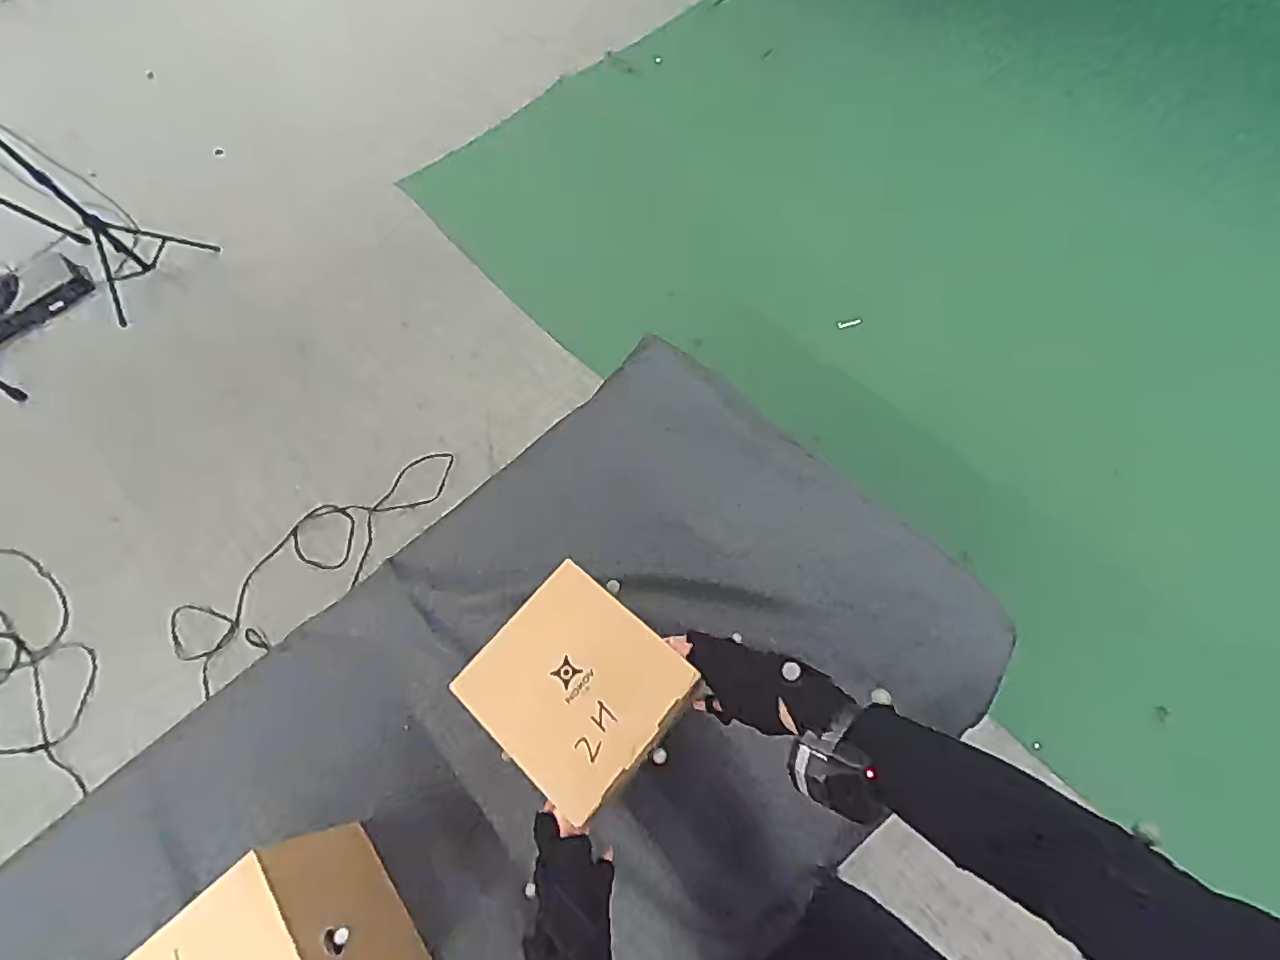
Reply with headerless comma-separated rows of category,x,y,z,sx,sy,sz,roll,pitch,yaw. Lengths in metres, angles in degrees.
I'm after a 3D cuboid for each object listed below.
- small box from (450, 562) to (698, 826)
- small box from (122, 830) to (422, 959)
small box,-0.056,0.222,0.569,0.179,0.176,0.168,37,74,22
small box,-0.333,0.459,0.490,0.168,0.176,0.179,-40,67,-13
